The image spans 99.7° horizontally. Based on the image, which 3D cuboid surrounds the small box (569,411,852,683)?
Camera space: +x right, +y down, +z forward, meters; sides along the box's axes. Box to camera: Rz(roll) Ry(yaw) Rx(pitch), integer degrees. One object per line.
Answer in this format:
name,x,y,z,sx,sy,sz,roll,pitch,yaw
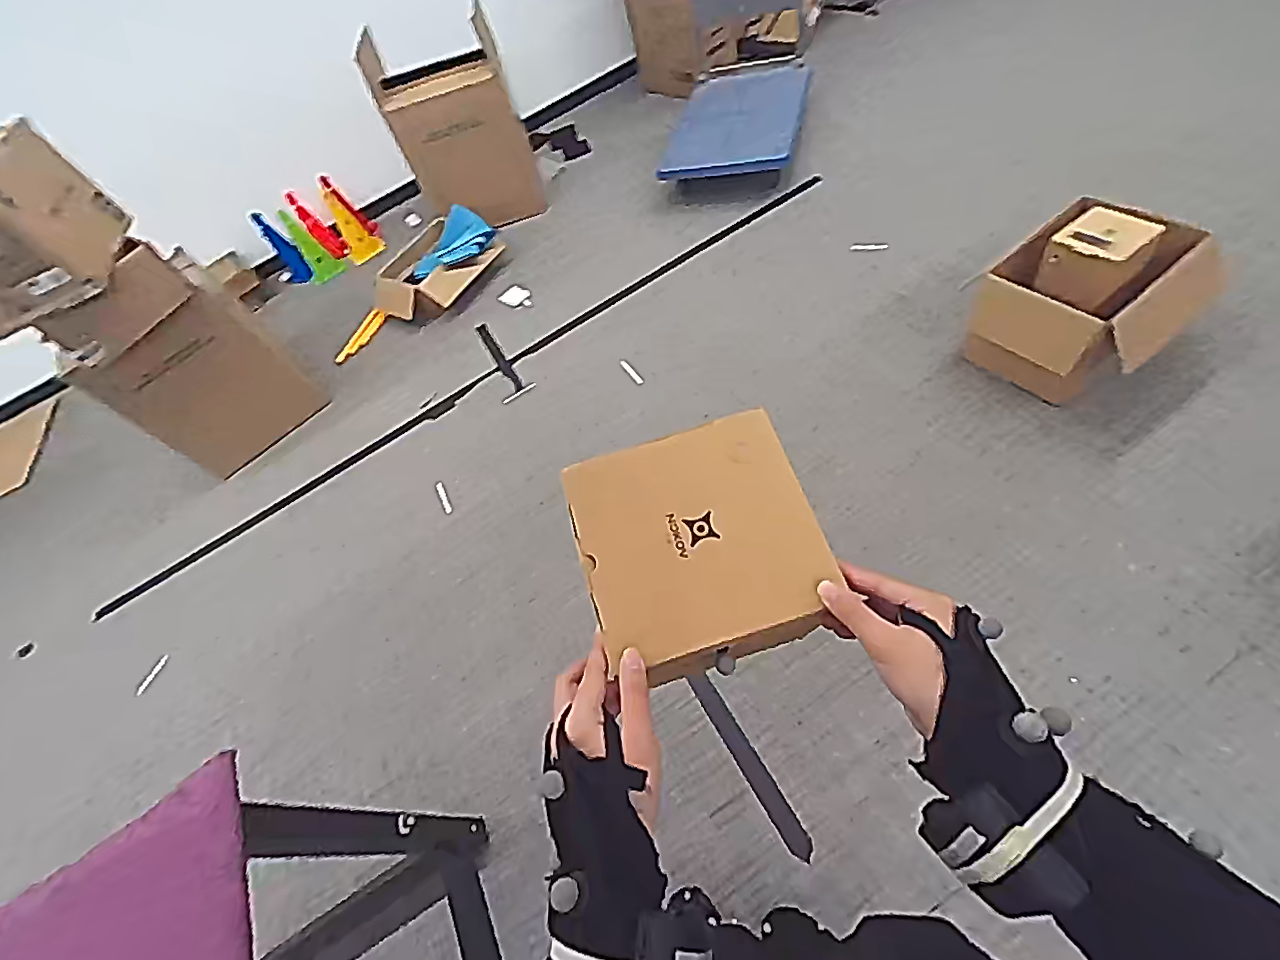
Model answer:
small box,0.052,0.070,0.479,0.179,0.176,0.168,-17,65,-2
